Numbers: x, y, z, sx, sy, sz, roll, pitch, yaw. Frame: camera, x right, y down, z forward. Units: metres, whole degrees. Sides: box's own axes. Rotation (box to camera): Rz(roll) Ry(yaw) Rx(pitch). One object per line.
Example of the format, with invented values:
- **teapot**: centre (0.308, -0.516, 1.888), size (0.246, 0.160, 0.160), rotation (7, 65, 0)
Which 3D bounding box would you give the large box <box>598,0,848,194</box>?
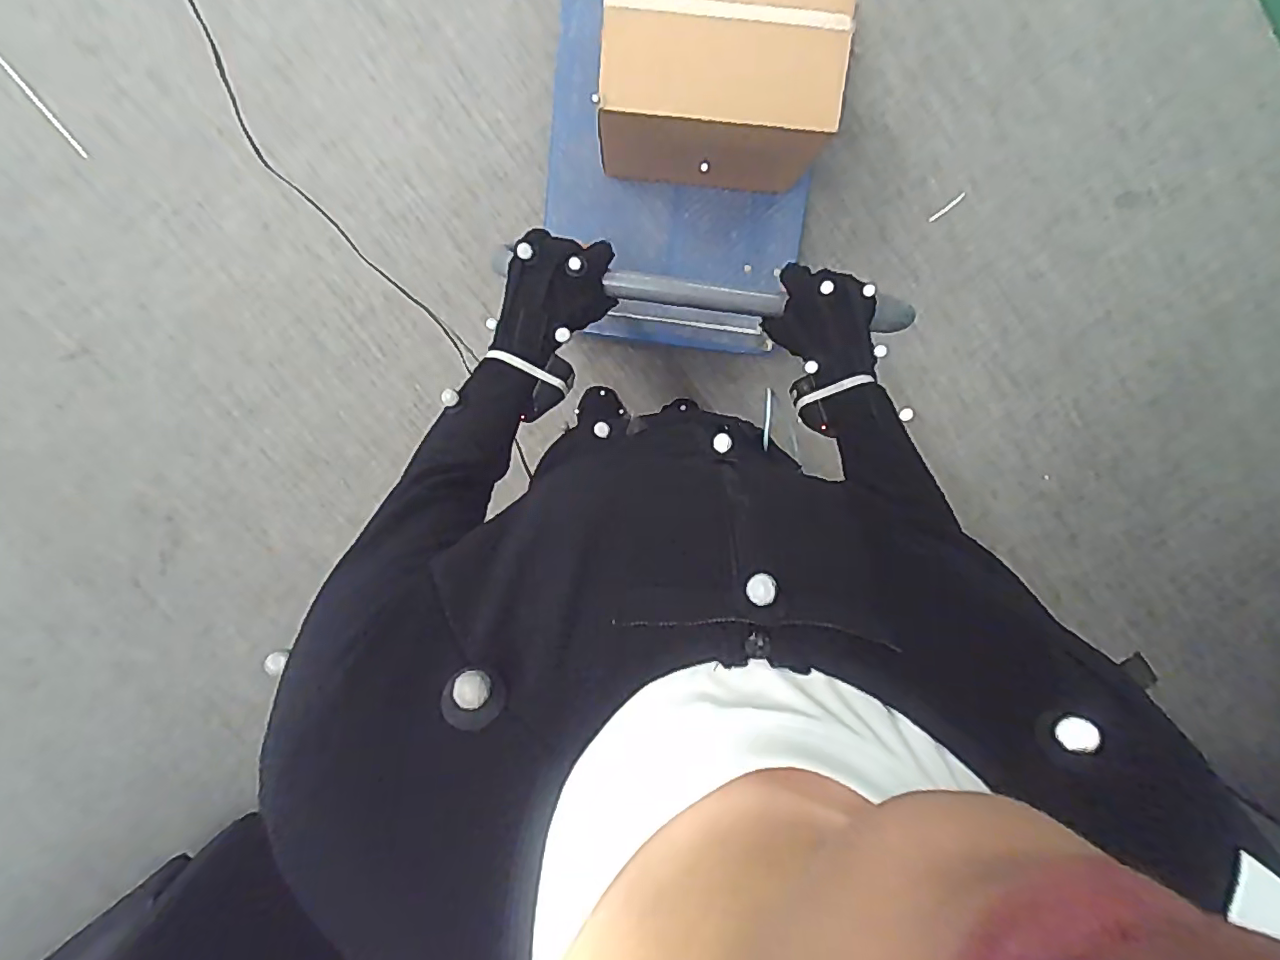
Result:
- **large box**: centre (0.135, -0.766, 1.026), size (0.408, 0.320, 0.320), rotation (4, 99, -2)
